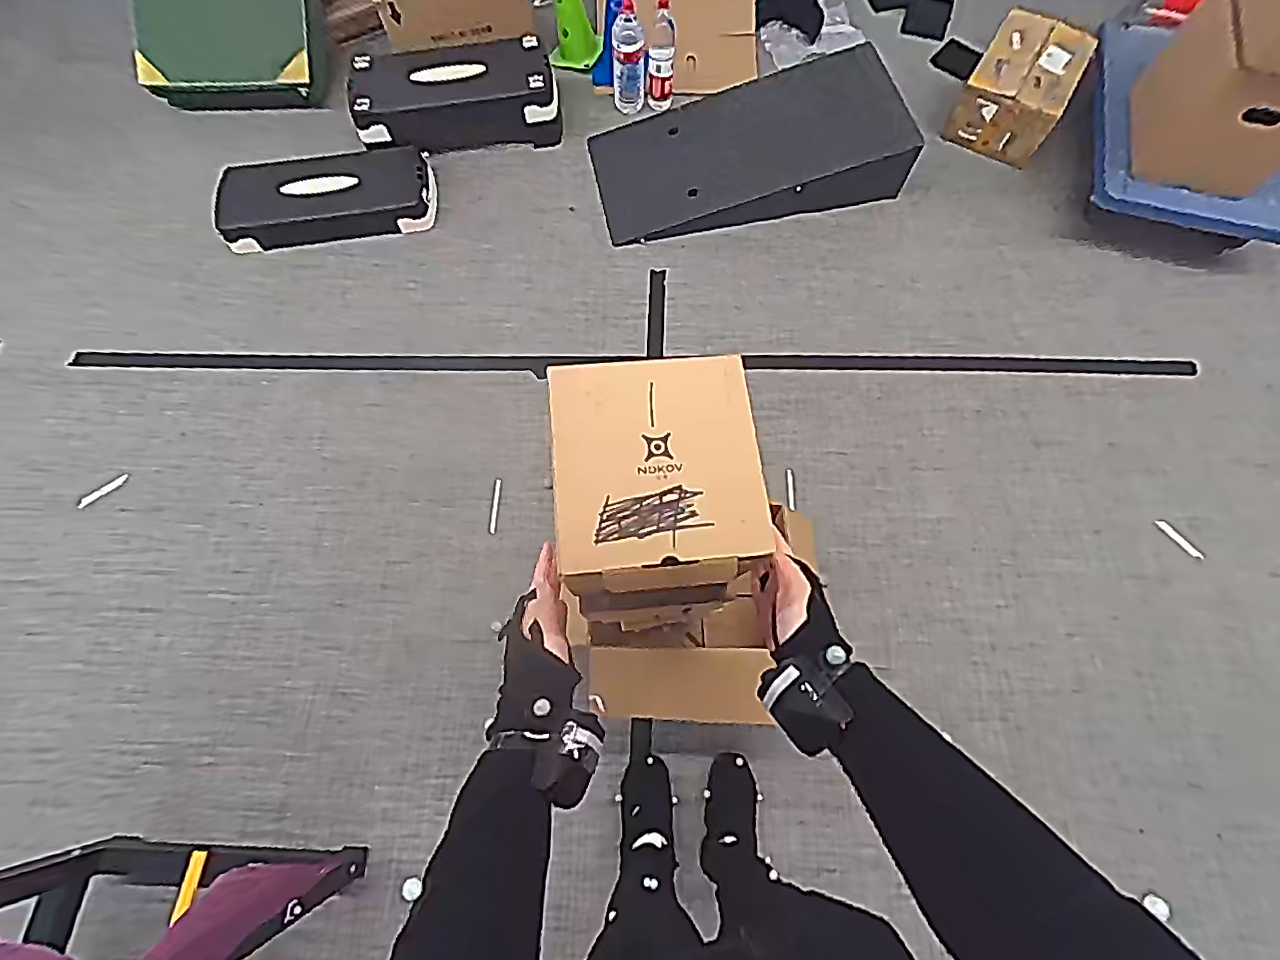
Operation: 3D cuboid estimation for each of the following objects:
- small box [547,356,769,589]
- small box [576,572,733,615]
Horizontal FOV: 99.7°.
[{"bbox_3d":[0.007,0.006,0.505,0.168,0.176,0.179,-4,73,-5],"label":"small box"},{"bbox_3d":[0.008,0.070,0.656,0.168,0.176,0.179,-3,73,-4],"label":"small box"}]
